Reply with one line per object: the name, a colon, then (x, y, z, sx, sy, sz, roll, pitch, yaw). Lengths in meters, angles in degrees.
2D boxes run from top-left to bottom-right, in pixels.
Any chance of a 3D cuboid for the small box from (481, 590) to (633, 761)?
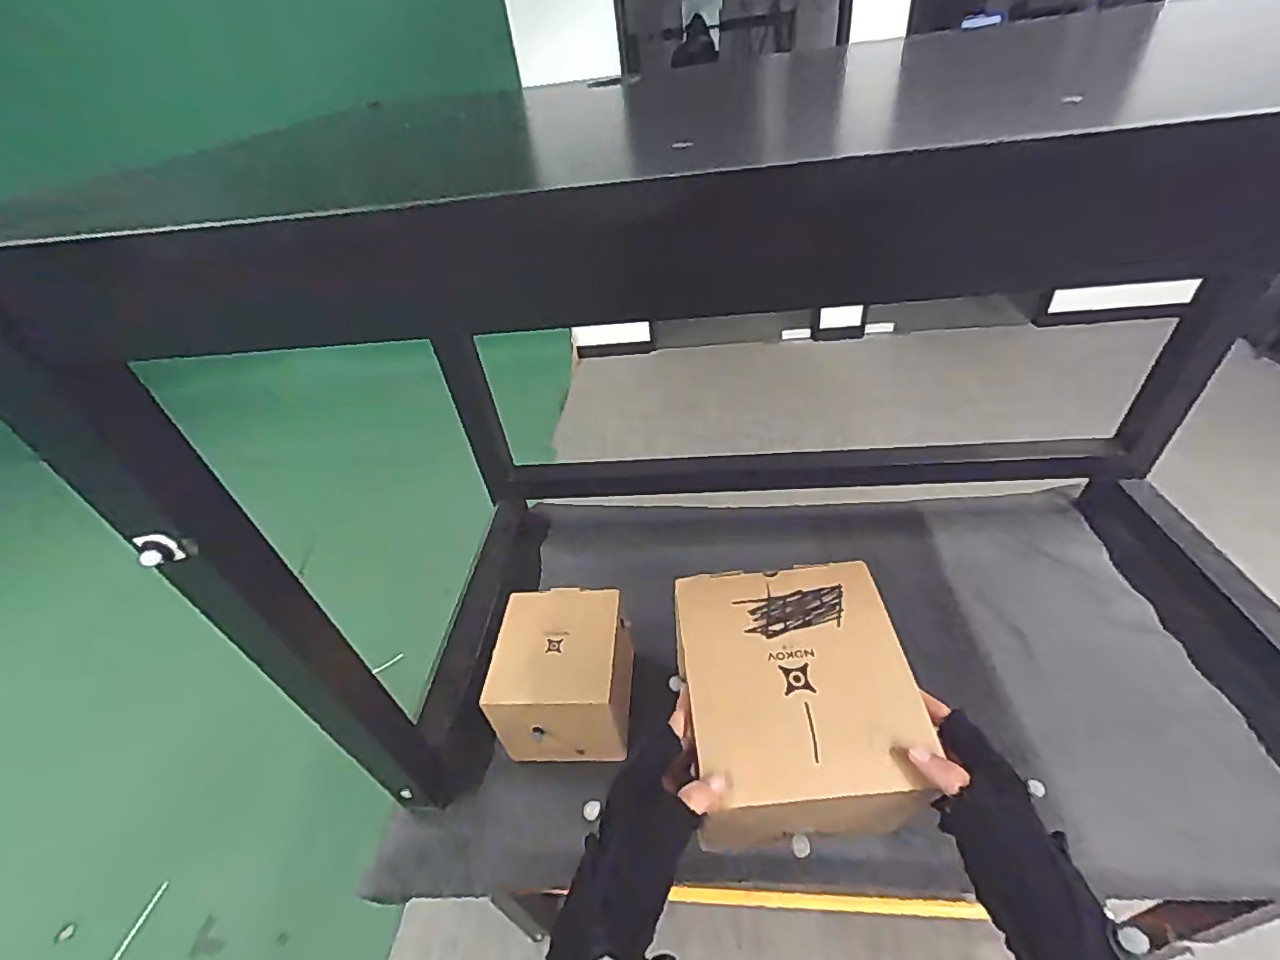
small box: (-0.103, 0.280, 0.770, 0.168, 0.176, 0.179, -3, 39, 6)
